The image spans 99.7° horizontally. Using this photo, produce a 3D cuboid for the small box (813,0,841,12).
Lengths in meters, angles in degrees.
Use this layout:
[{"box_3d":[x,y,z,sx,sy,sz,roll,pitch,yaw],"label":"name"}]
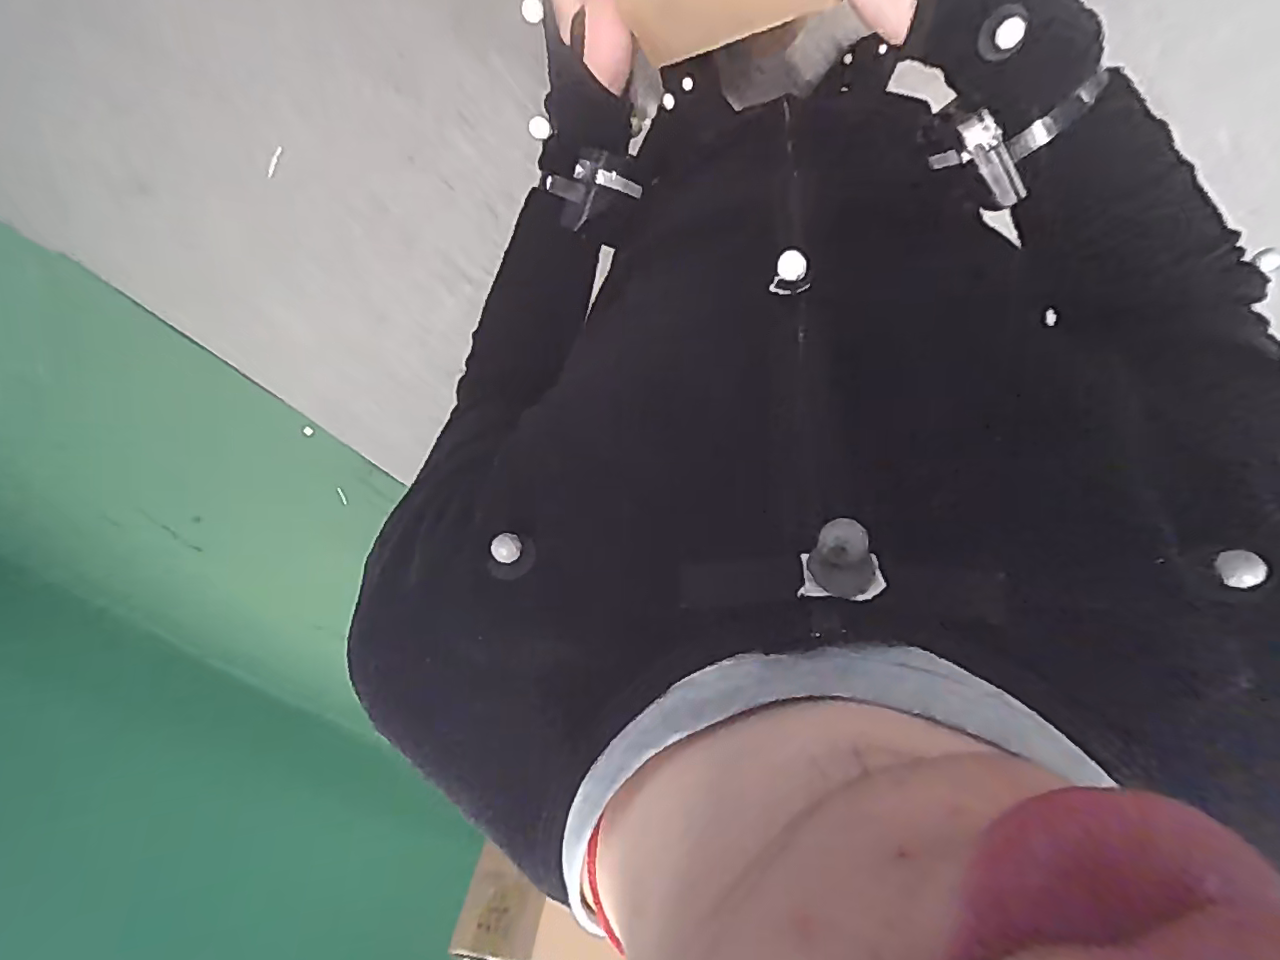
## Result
[{"box_3d":[0.251,-0.755,0.696,0.168,0.176,0.179,33,130,-15],"label":"small box"}]
